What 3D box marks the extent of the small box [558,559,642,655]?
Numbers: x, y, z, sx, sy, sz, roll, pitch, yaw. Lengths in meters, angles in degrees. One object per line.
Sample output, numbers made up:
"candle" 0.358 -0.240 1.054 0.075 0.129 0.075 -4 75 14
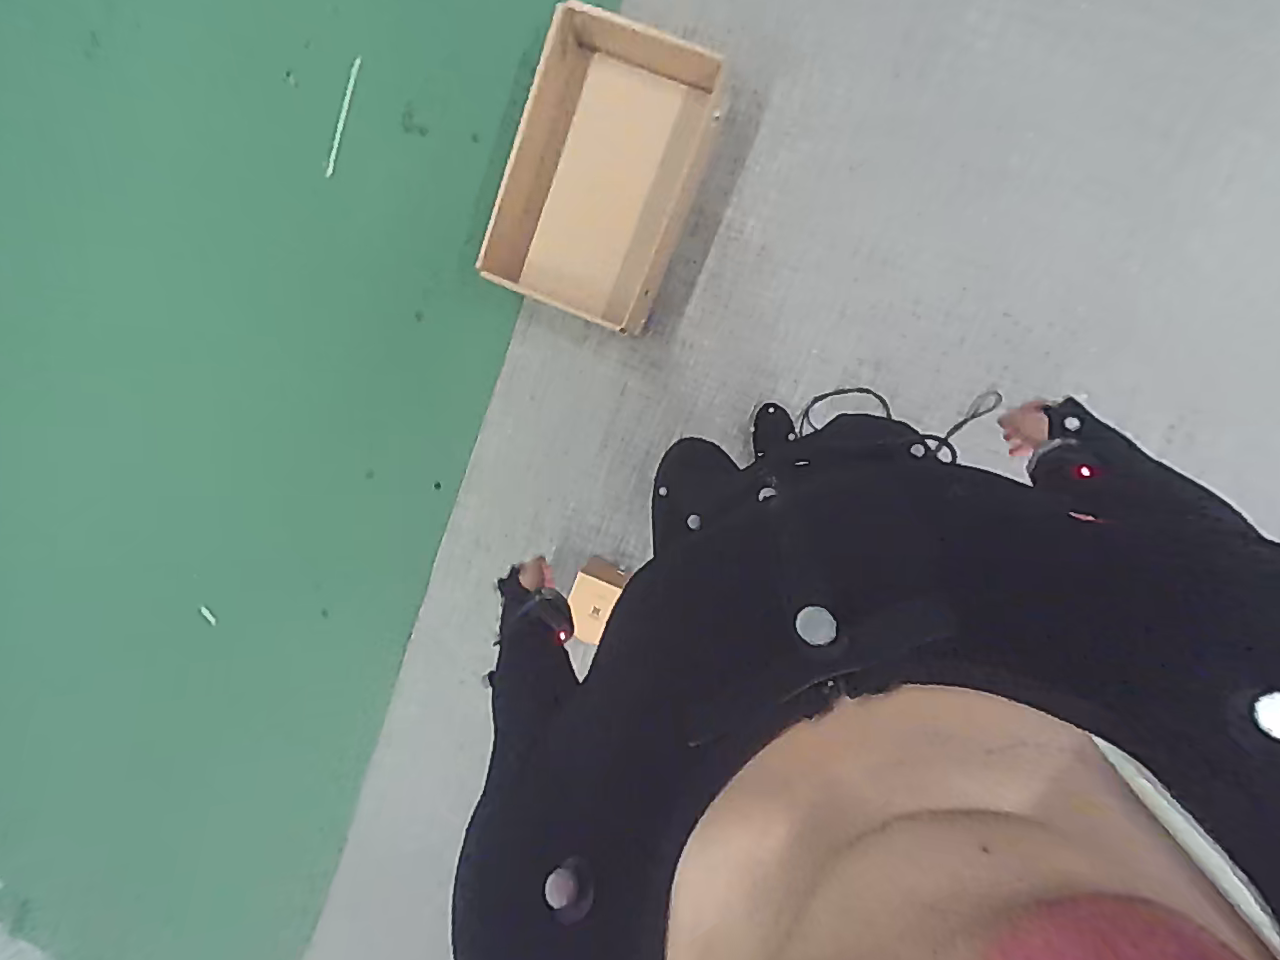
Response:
"small box" -0.103 0.340 1.480 0.168 0.176 0.179 21 99 4
